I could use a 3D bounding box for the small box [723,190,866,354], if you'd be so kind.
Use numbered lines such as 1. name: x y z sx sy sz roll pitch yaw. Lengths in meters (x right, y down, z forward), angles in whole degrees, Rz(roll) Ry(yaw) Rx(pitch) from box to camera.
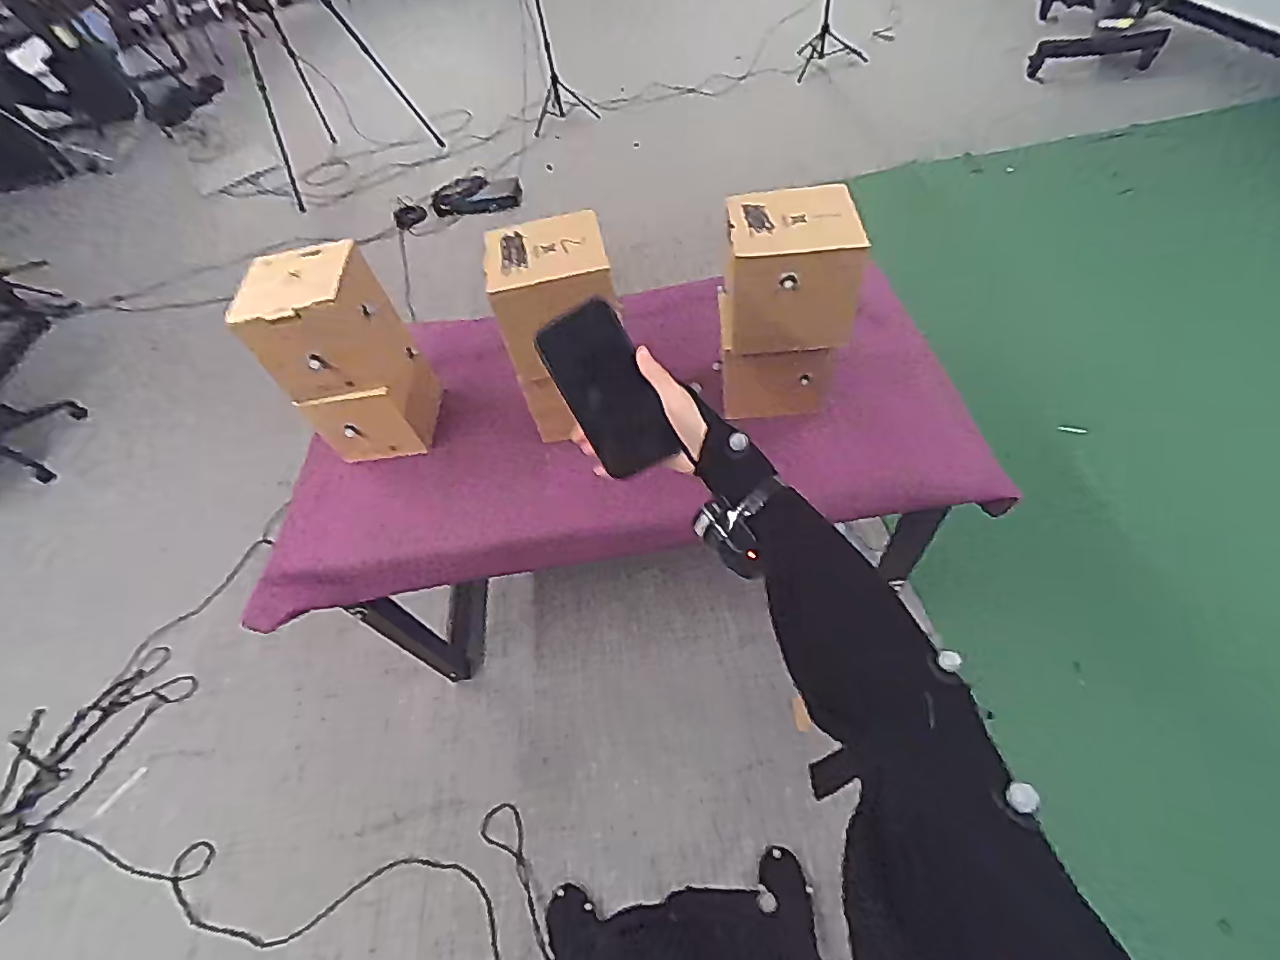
1. small box: 0.219 -0.306 0.814 0.179 0.176 0.168 -3 53 7

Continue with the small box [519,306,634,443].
1. small box: -0.107 -0.187 0.983 0.179 0.176 0.168 -8 53 4

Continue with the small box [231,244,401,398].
1. small box: -0.516 -0.253 0.894 0.168 0.176 0.179 -11 54 0

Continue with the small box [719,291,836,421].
1. small box: 0.231 -0.221 0.955 0.179 0.176 0.168 -3 53 8

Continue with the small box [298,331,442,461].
1. small box: -0.494 -0.150 1.020 0.168 0.176 0.179 -7 53 4
